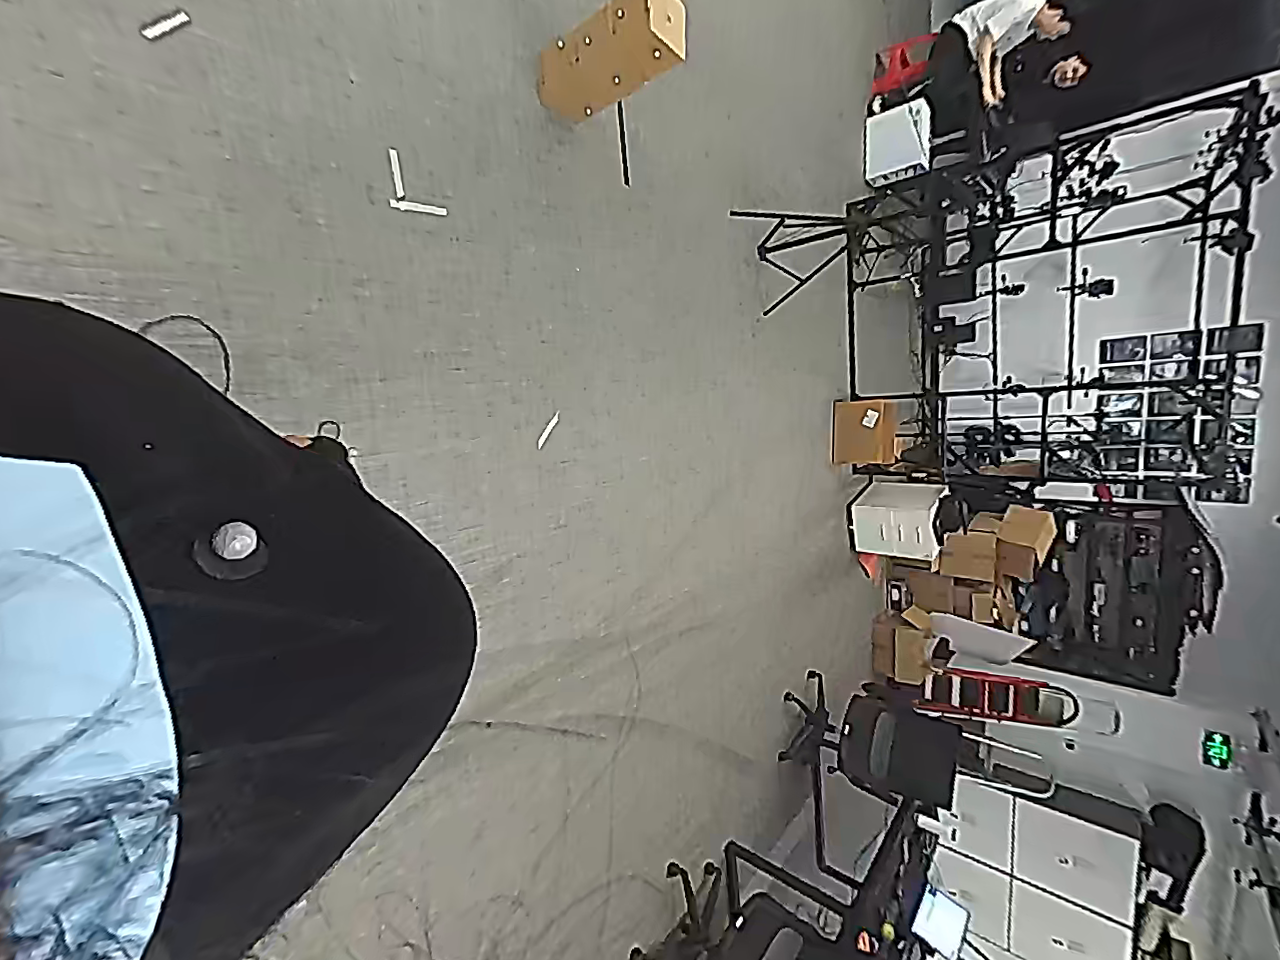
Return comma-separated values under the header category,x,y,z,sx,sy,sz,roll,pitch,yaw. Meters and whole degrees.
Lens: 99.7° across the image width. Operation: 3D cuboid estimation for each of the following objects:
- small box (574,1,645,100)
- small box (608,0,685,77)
category,x,y,z,sx,sy,sz,roll,pitch,yaw
small box,-0.103,-1.392,1.769,0.179,0.176,0.168,-4,96,-49
small box,0.022,-1.391,1.665,0.179,0.176,0.168,-5,96,-49
